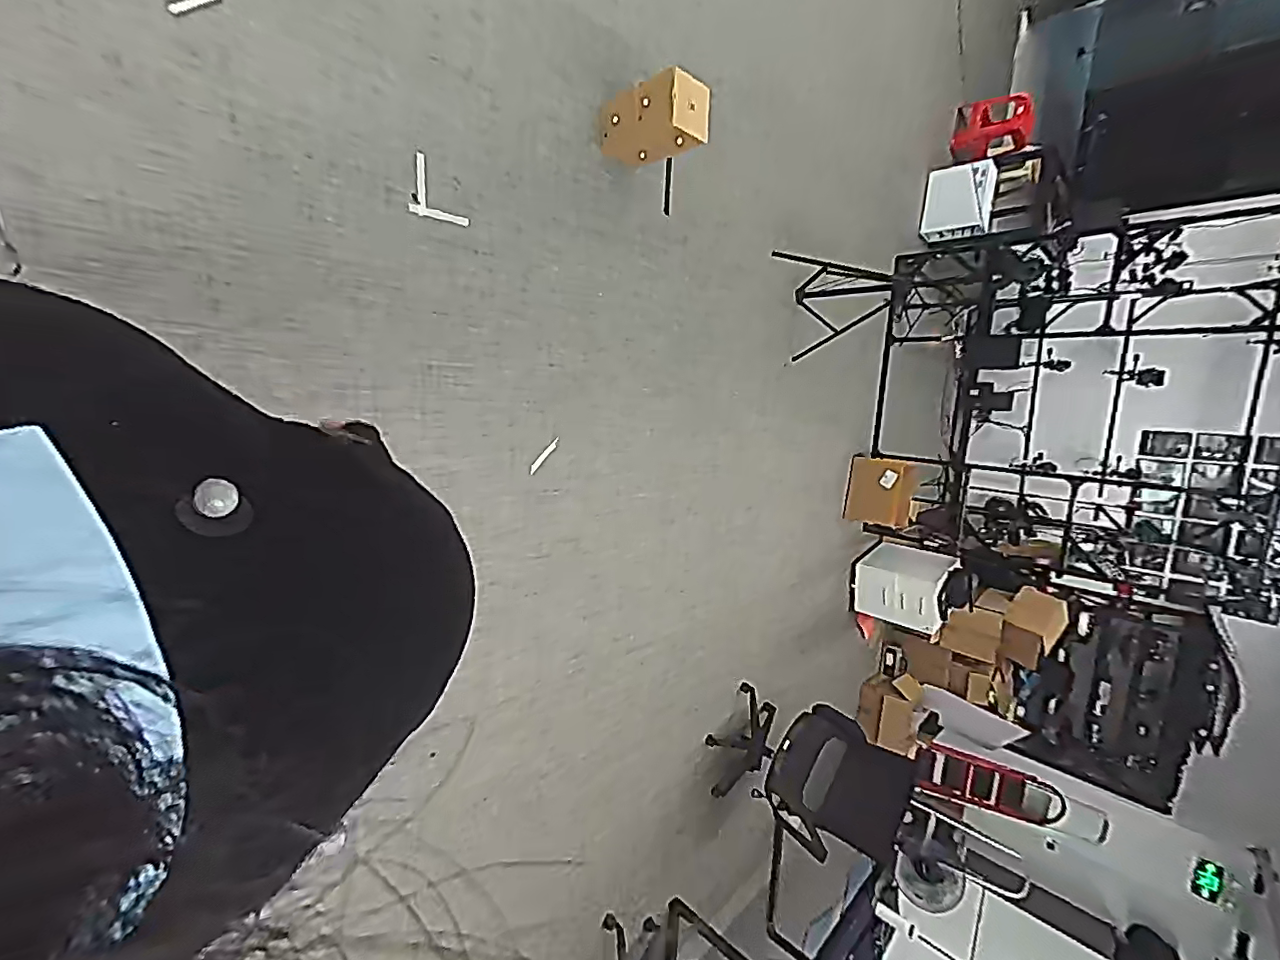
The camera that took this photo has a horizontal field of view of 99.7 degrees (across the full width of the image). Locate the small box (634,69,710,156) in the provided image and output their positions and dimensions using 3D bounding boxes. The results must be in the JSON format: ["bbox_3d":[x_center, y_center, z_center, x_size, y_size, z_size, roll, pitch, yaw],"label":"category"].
[{"bbox_3d":[0.103,-1.178,1.751,0.179,0.176,0.168,-8,104,-45],"label":"small box"}]

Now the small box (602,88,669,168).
[{"bbox_3d":[-0.015,-1.201,1.861,0.179,0.176,0.168,-10,106,-46],"label":"small box"}]
